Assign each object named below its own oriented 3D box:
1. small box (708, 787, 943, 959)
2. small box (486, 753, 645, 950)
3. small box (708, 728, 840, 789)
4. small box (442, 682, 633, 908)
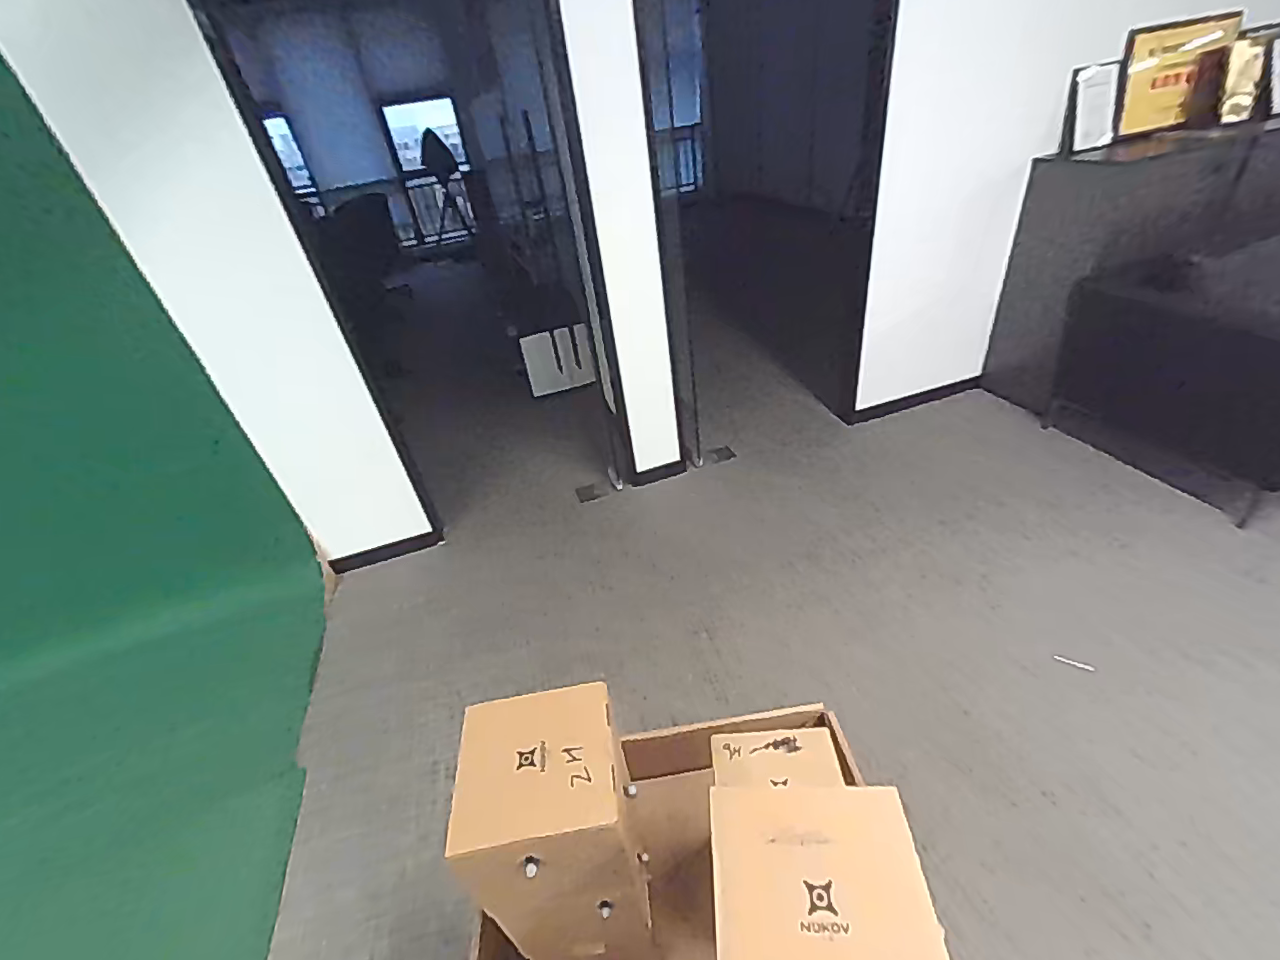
[{"bbox_3d":[0.146,0.393,0.463,0.168,0.176,0.179,-3,35,6],"label":"small box"},{"bbox_3d":[-0.095,0.506,0.741,0.179,0.176,0.168,-8,35,-3],"label":"small box"},{"bbox_3d":[0.184,0.466,0.734,0.168,0.176,0.179,-5,36,4],"label":"small box"},{"bbox_3d":[-0.111,0.374,0.644,0.179,0.176,0.168,-9,36,-3],"label":"small box"}]
